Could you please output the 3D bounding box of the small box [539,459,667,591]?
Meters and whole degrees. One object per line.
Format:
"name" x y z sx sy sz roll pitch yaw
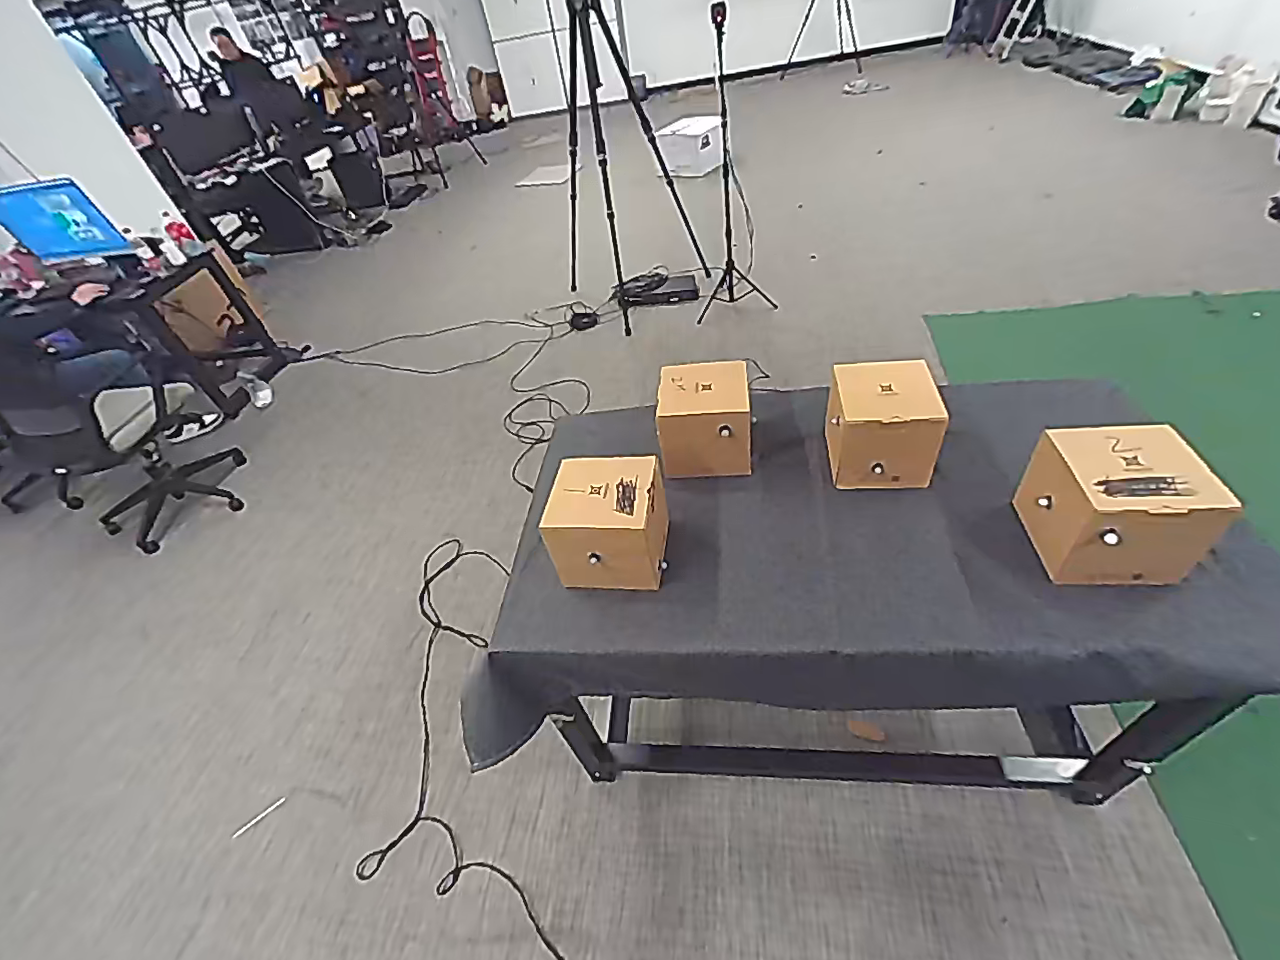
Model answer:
"small box" -0.052 0.081 0.950 0.179 0.176 0.168 -1 44 12

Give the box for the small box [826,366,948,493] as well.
"small box" 0.453 -0.096 1.025 0.168 0.176 0.179 -1 46 11

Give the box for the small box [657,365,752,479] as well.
"small box" 0.137 -0.115 1.107 0.179 0.176 0.168 -2 45 11
